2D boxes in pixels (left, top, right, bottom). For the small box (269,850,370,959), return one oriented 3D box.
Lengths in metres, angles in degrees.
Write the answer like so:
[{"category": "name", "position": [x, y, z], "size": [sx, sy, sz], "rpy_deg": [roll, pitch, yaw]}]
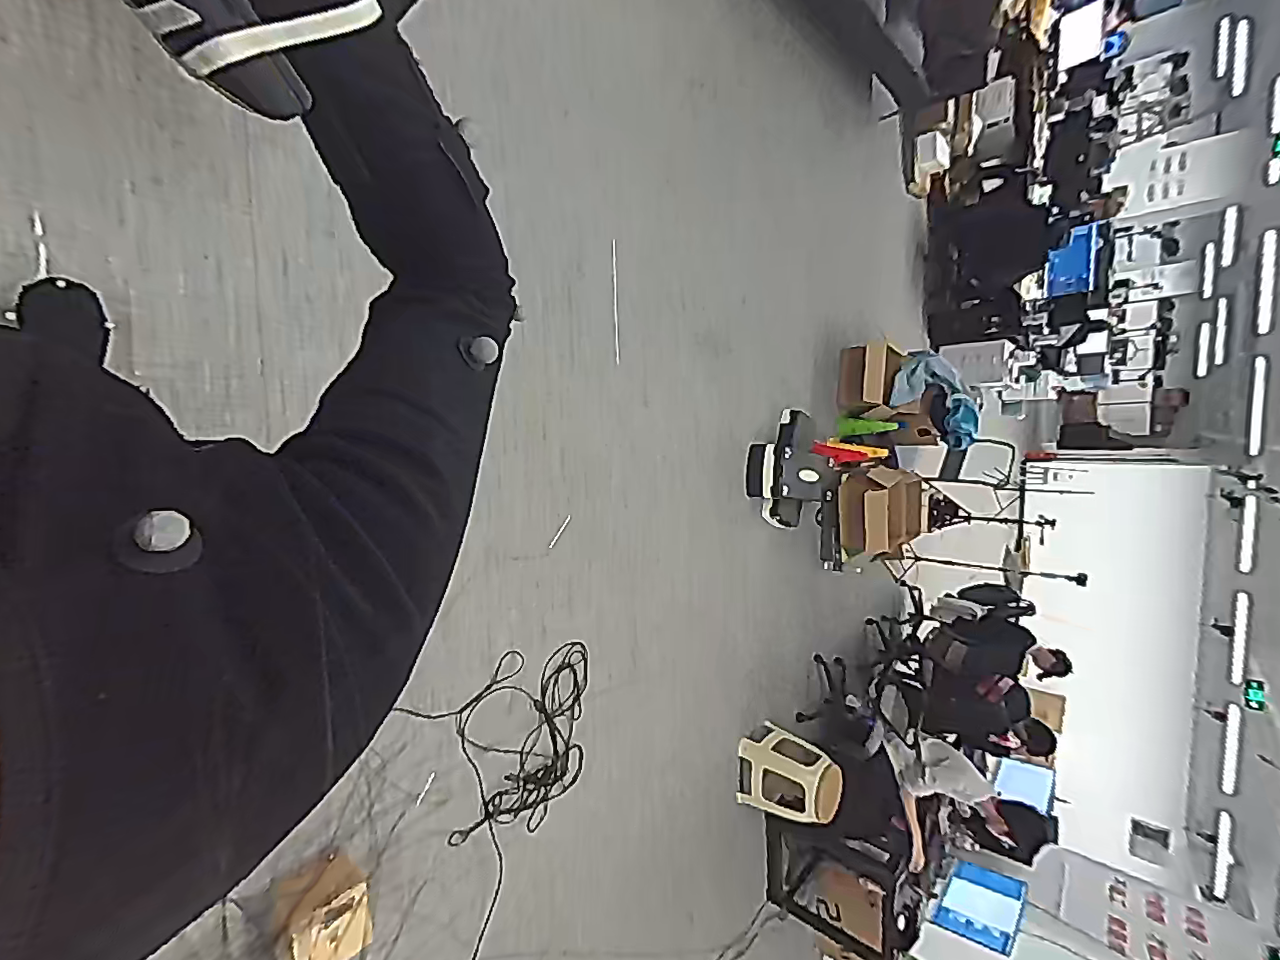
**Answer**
[{"category": "small box", "position": [-0.798, 1.066, 1.342], "size": [0.168, 0.176, 0.179], "rpy_deg": [-11, 102, -48]}]
